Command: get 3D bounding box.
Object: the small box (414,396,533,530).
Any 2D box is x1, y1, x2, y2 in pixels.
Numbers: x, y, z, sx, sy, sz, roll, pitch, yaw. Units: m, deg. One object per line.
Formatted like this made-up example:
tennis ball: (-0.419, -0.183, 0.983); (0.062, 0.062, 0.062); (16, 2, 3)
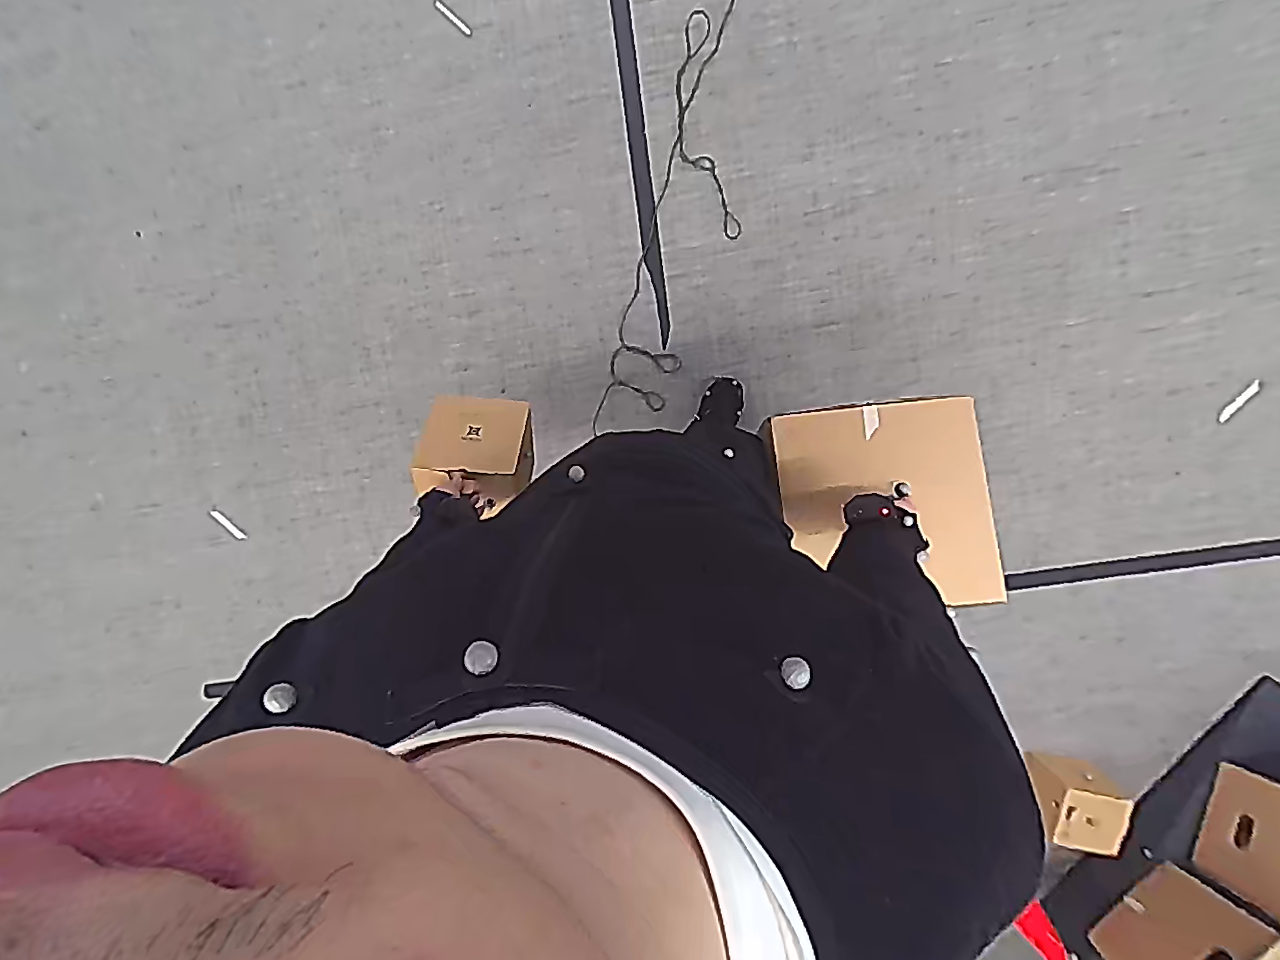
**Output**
small box: (-0.289, -0.027, 0.981); (0.168, 0.179, 0.176); (5, 140, -5)
